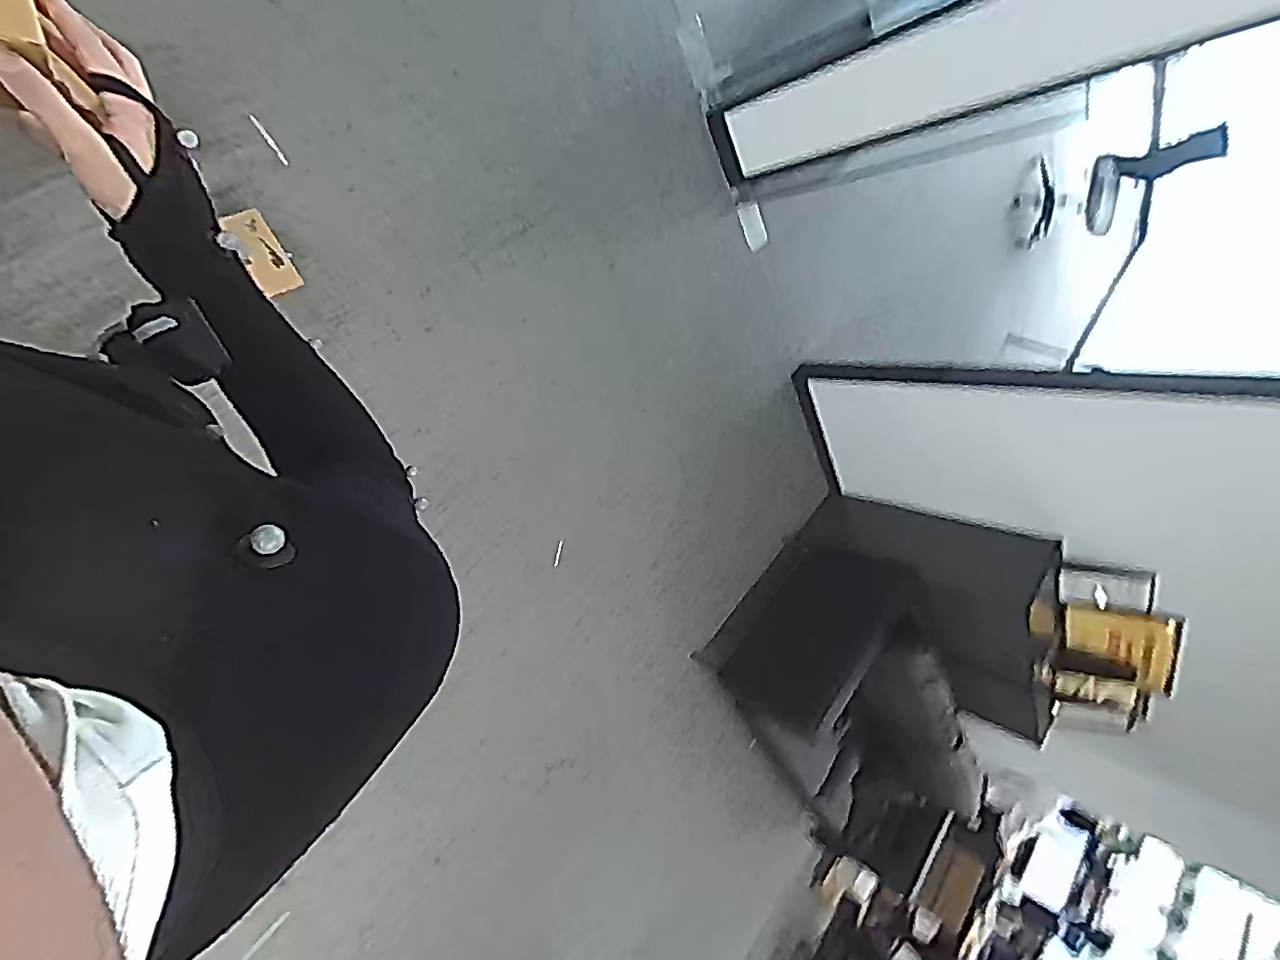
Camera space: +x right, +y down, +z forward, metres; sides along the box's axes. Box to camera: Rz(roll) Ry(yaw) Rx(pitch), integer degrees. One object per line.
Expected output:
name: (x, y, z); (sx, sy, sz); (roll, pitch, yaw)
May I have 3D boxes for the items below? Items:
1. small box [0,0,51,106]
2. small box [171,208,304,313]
small box: (-0.505, -0.353, 0.326); (0.179, 0.176, 0.168); (-16, 113, -38)
small box: (-0.893, -0.481, 1.208); (0.179, 0.176, 0.168); (-37, 123, -26)
